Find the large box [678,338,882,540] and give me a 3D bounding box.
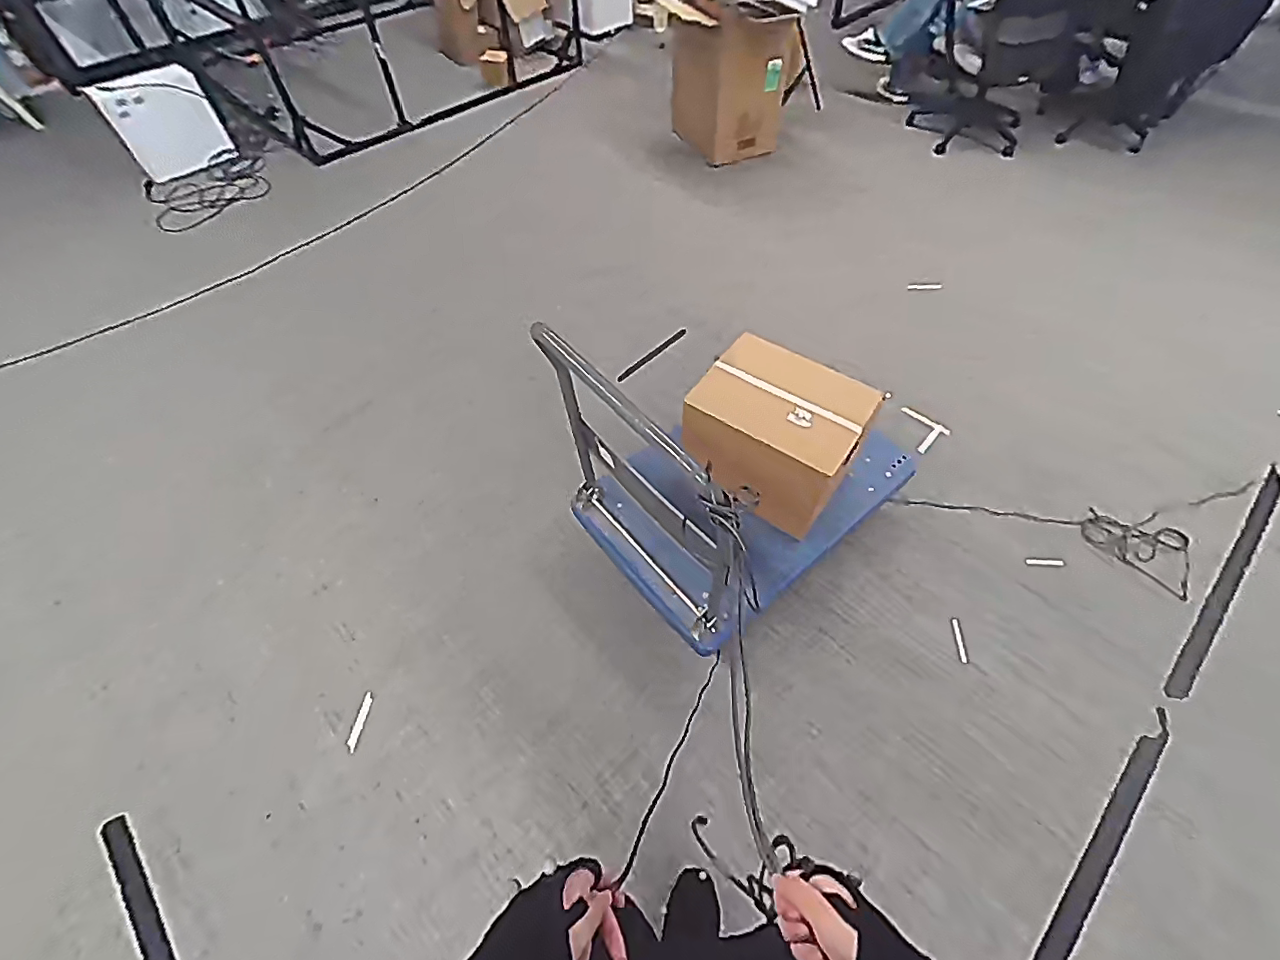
[{"bbox_3d":[0.353,-0.111,1.460,0.408,0.320,0.320,31,62,20],"label":"large box"}]
